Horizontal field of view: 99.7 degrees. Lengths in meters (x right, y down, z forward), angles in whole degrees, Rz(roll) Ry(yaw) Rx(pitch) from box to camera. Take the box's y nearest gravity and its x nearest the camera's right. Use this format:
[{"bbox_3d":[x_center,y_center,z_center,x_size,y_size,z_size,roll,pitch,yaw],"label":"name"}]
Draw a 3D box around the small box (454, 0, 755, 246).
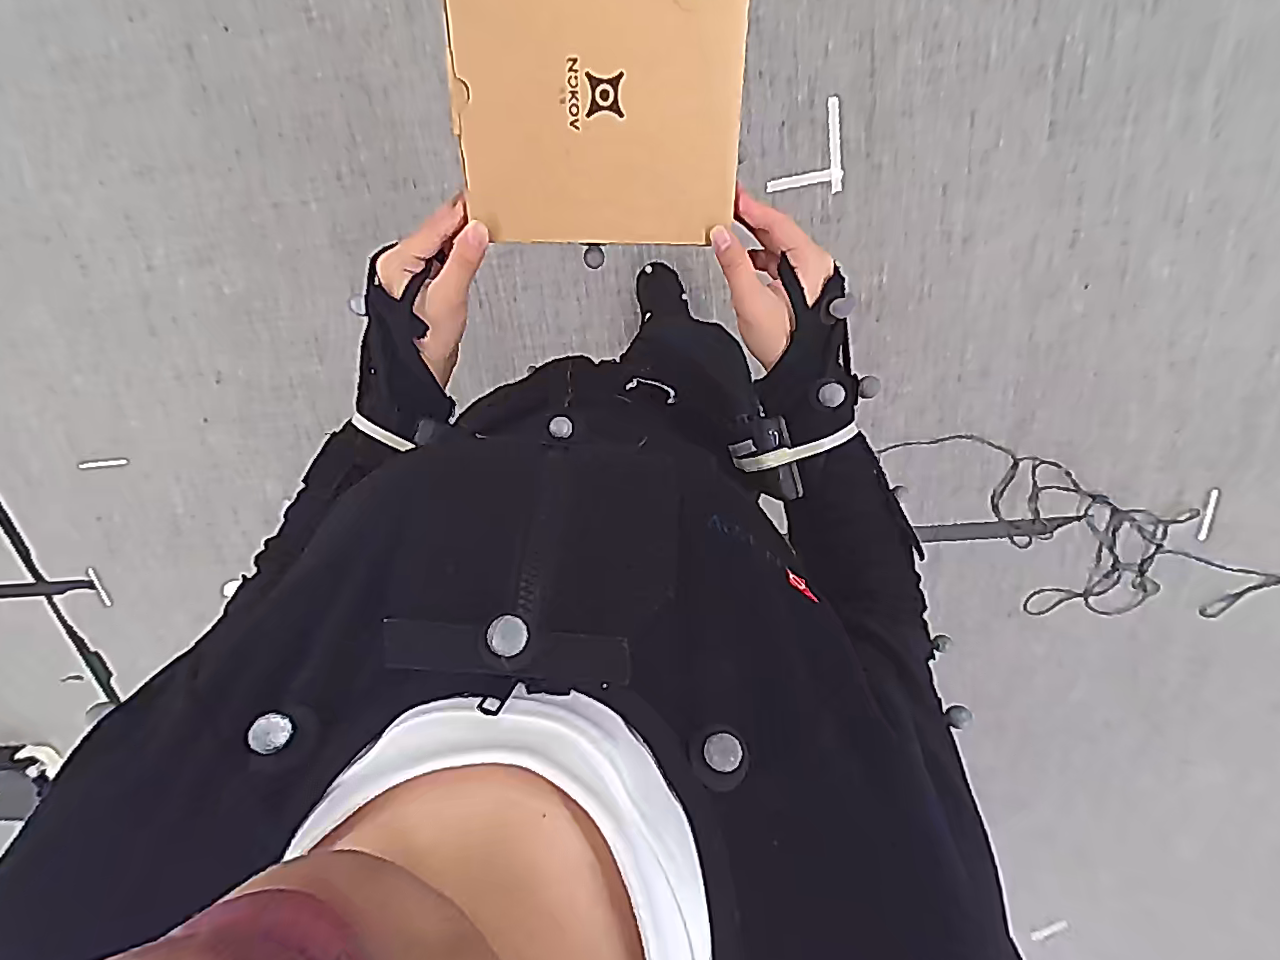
[{"bbox_3d":[-0.020,-0.270,0.402,0.179,0.176,0.168,2,115,2],"label":"small box"}]
